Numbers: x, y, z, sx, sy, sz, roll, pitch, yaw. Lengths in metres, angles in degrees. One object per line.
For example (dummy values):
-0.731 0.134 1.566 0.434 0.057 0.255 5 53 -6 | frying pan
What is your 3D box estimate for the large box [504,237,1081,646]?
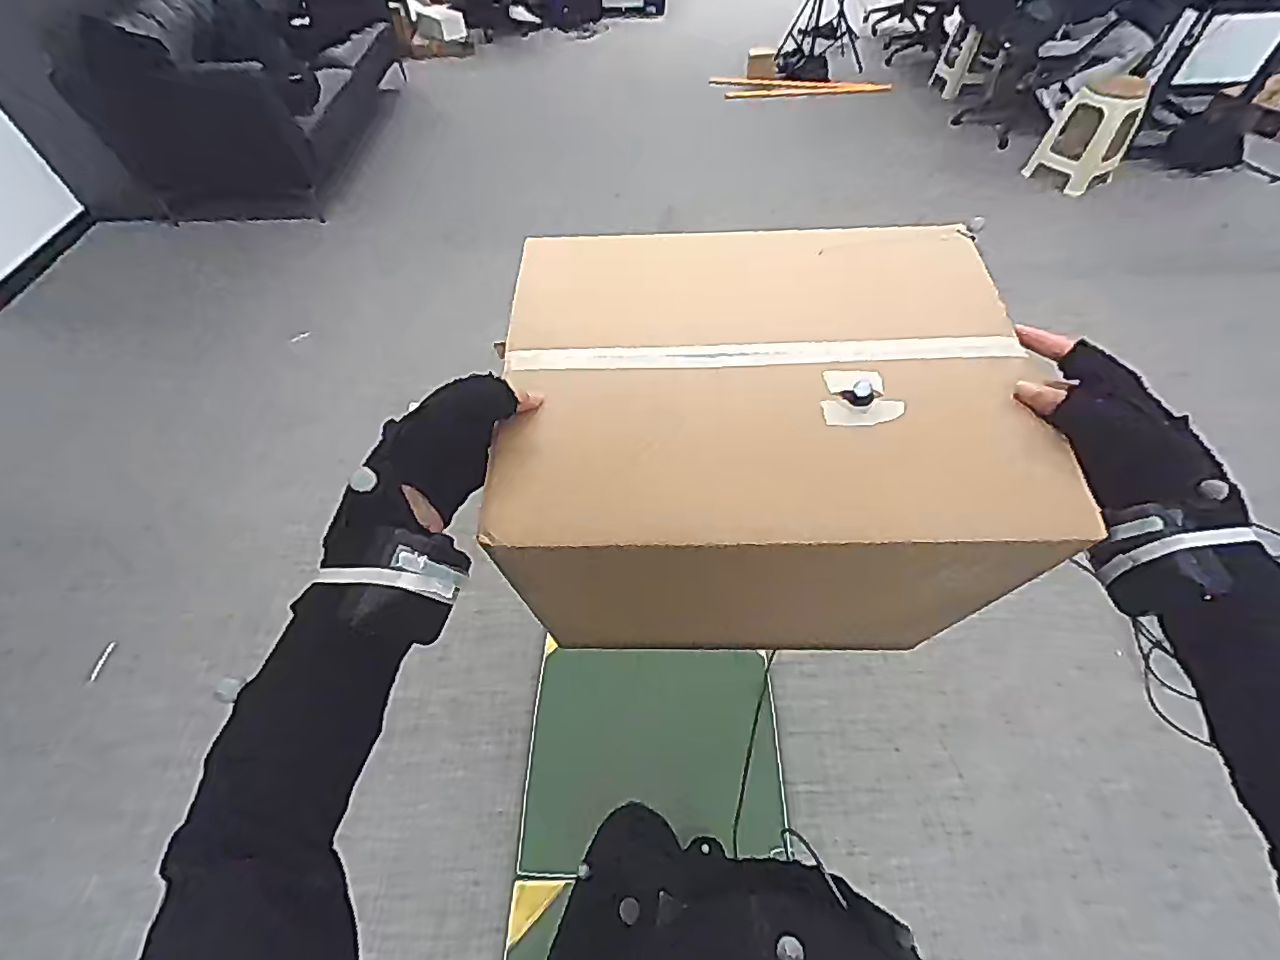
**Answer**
0.103 -0.020 0.569 0.408 0.320 0.320 -1 61 1 | large box
